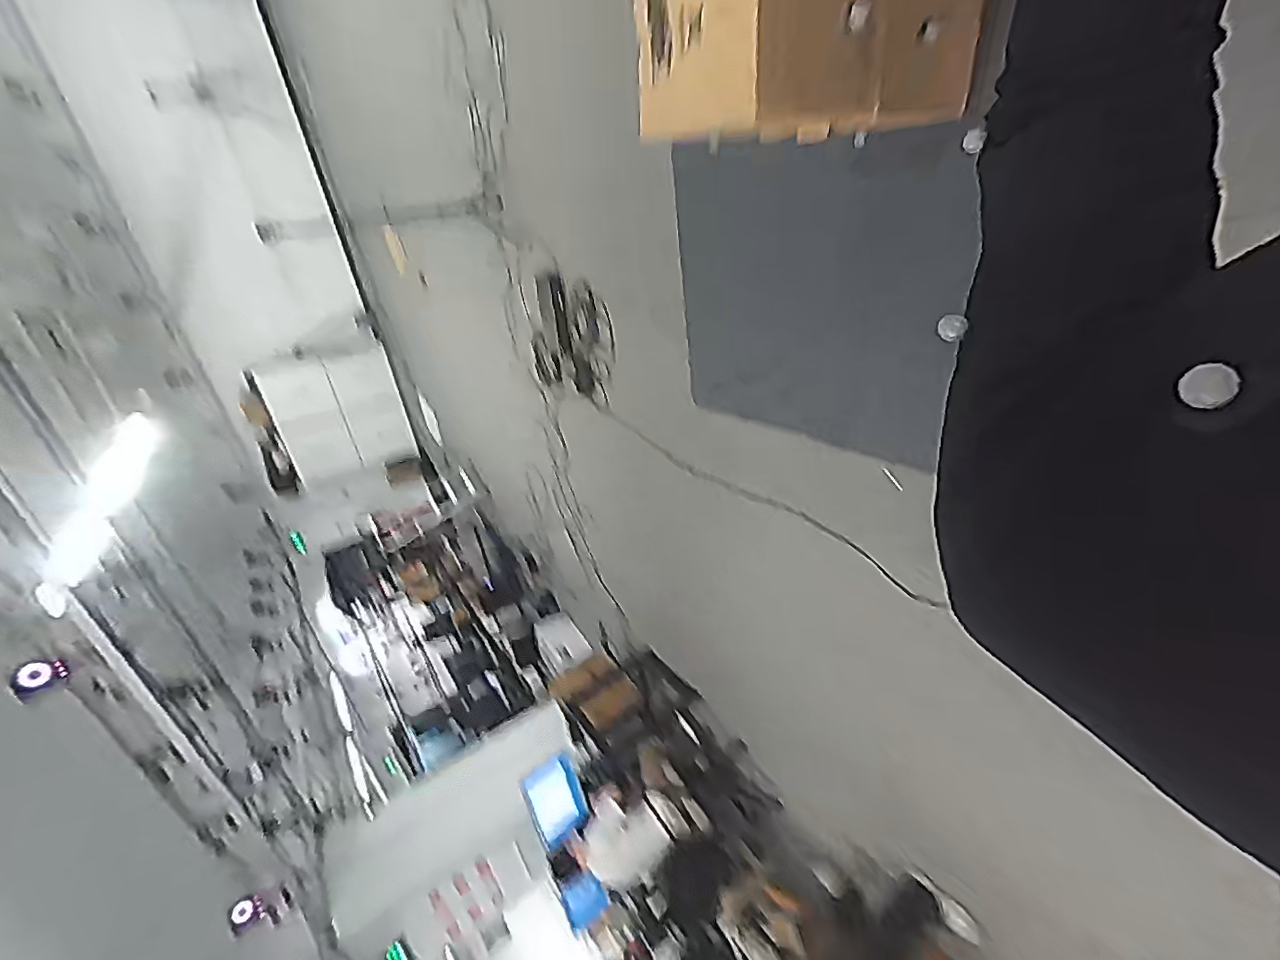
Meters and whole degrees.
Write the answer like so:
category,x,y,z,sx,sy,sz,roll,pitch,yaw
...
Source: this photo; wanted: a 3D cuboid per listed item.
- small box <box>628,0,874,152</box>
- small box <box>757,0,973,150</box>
category,x,y,z,sx,sy,sz,roll,pitch,yaw
small box,0.106,-0.437,0.542,0.179,0.176,0.168,32,137,52
small box,0.247,-0.490,0.610,0.168,0.176,0.179,32,138,49
